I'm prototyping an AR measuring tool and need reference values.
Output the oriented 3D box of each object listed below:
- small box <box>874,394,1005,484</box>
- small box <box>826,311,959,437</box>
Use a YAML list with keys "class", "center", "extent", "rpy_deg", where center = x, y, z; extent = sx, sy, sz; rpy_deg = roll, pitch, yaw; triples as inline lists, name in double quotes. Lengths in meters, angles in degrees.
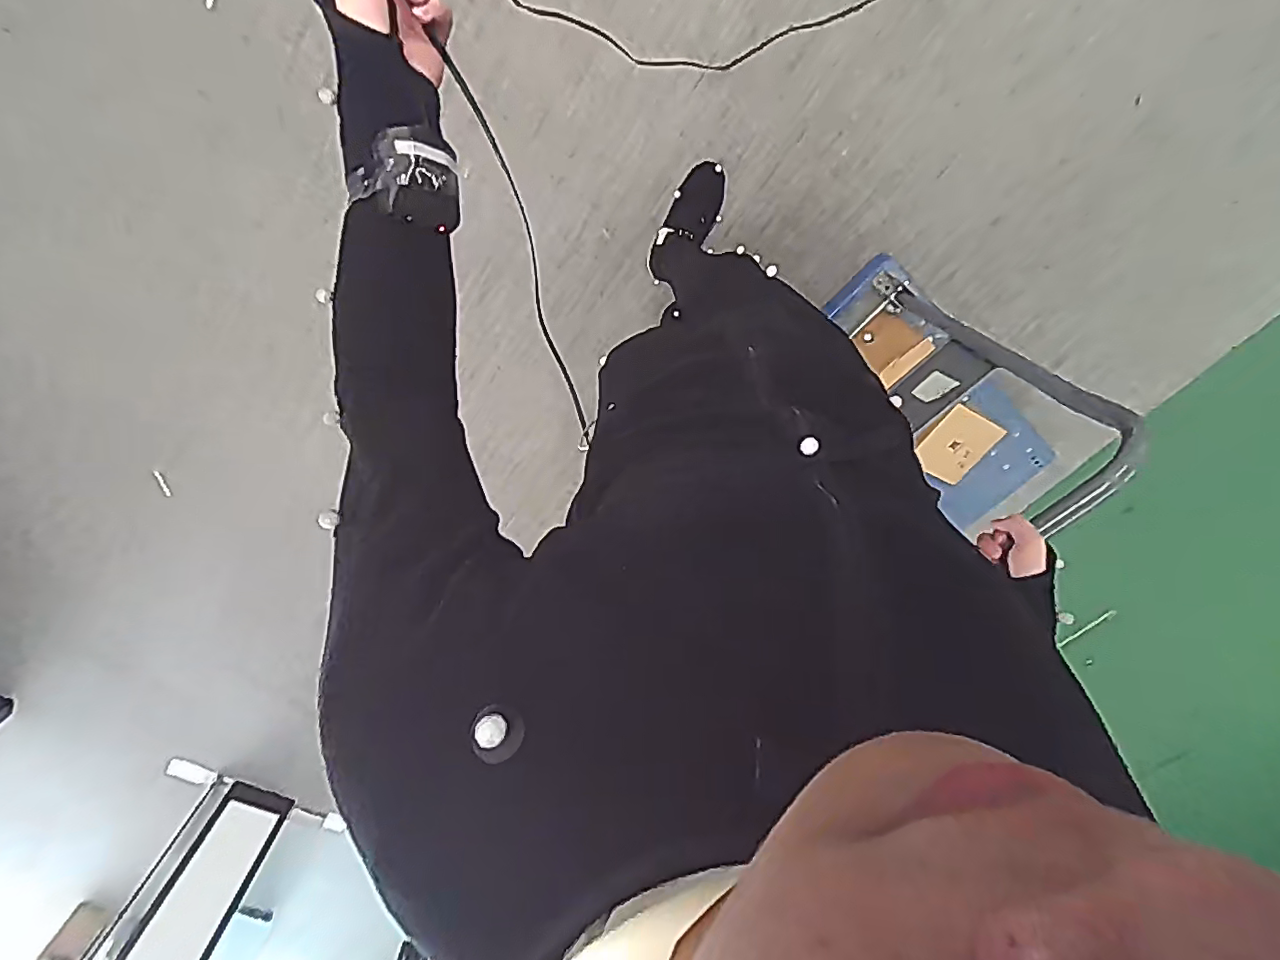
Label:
- class: "small box"
  center: [0.695, -0.123, 1.278]
  extent: [0.179, 0.176, 0.168]
  rpy_deg: [21, 121, -22]
- class: "small box"
  center: [0.541, -0.235, 1.175]
  extent: [0.168, 0.176, 0.179]
  rpy_deg: [-41, 123, 20]
